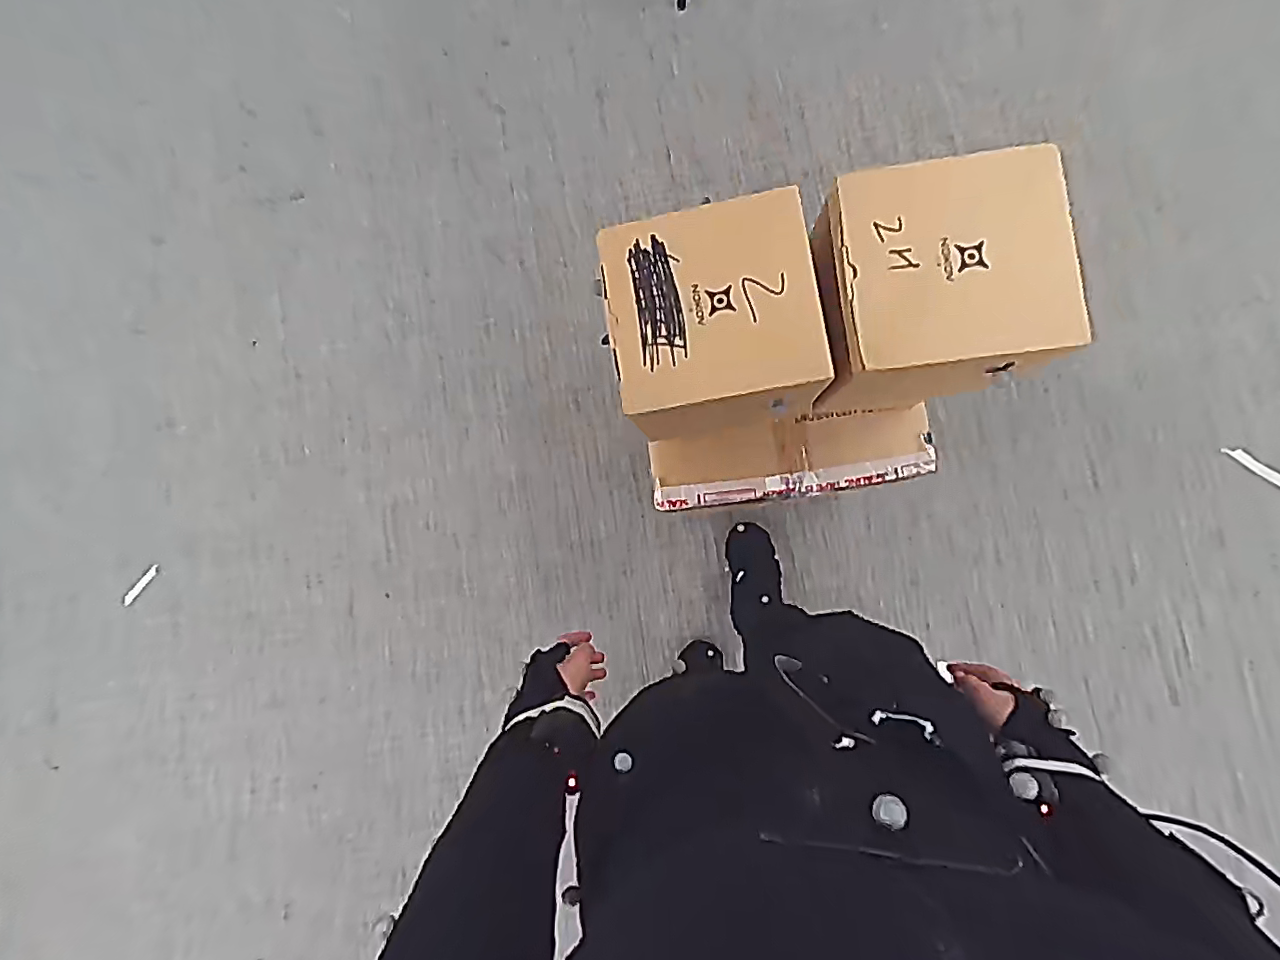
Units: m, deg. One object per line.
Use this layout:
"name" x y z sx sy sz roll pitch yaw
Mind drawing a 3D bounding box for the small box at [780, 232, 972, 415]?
"small box" 0.274 -0.179 0.670 0.179 0.176 0.168 -3 86 5
